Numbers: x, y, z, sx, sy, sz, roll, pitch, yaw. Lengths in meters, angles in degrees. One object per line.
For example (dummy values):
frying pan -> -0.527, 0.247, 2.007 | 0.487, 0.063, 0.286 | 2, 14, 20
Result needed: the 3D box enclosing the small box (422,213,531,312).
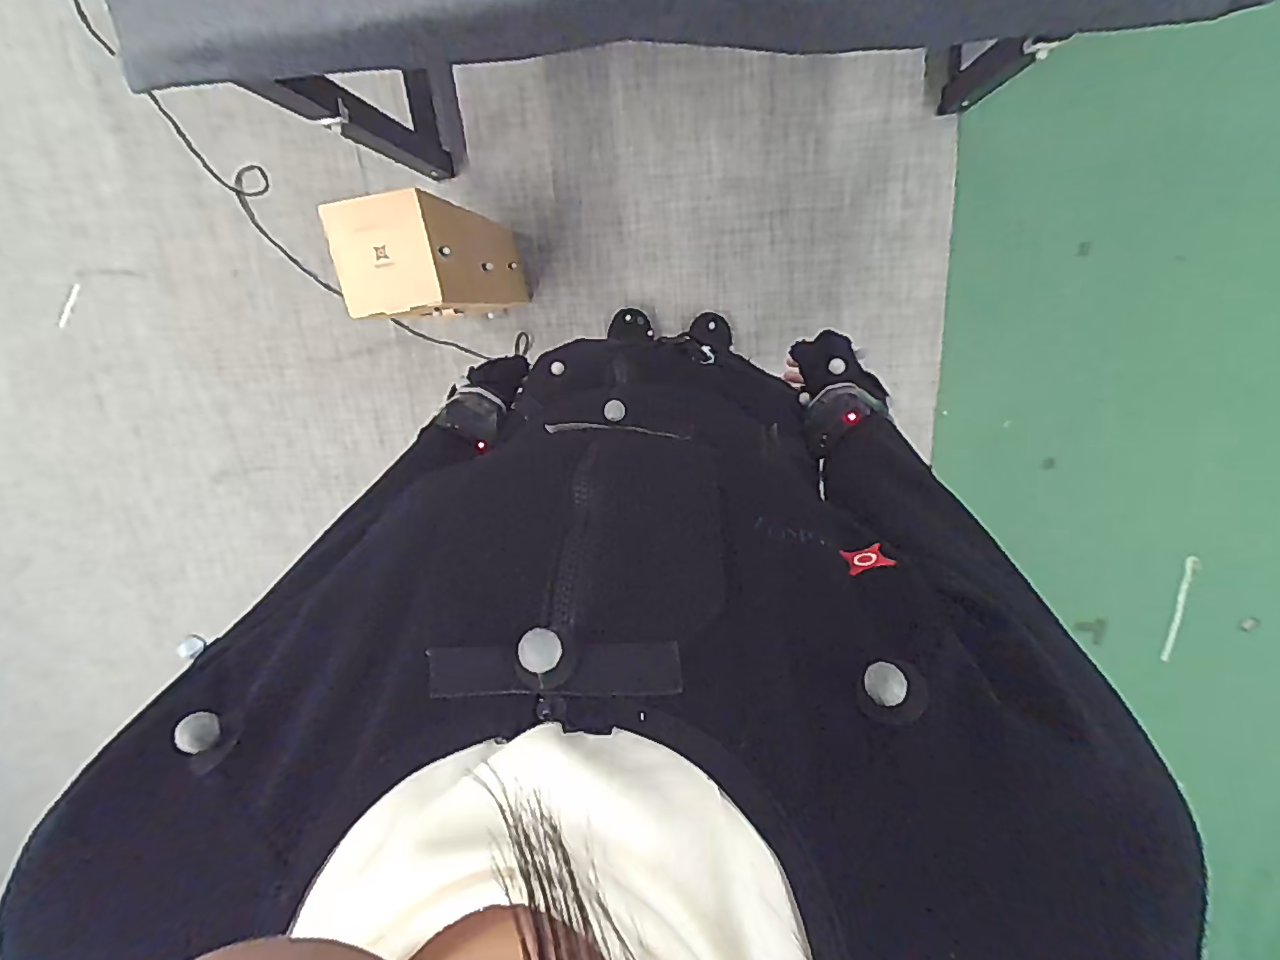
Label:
small box -> -0.367, -0.491, 1.245 | 0.168, 0.176, 0.179 | -10, 108, 9
